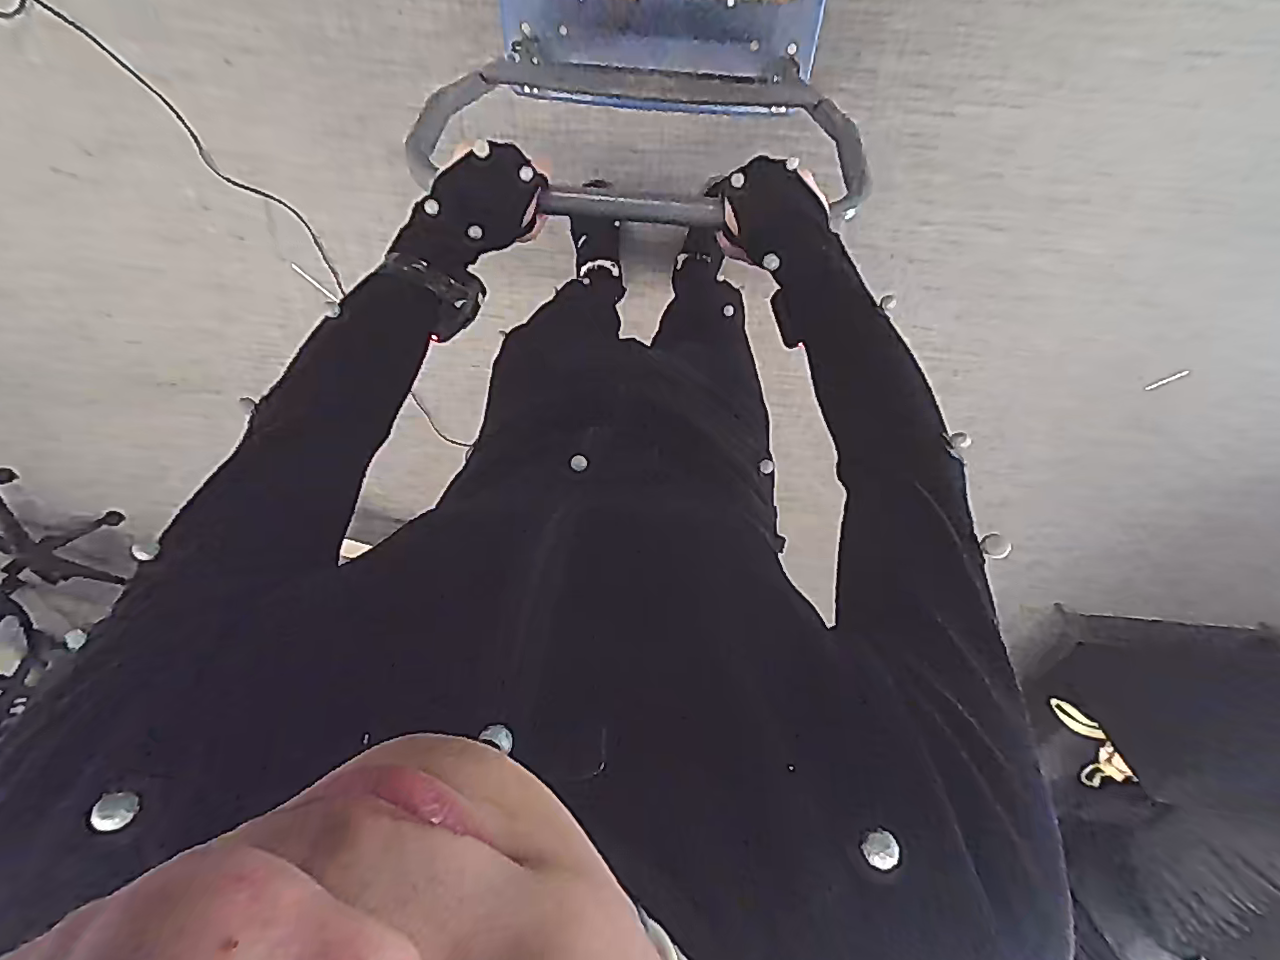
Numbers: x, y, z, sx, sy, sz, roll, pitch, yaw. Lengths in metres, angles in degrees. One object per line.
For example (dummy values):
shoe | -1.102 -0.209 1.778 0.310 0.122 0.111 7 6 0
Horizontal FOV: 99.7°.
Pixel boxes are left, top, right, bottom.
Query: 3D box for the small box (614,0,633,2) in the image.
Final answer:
small box | -0.081 -0.865 0.833 0.168 0.176 0.179 5 131 -1

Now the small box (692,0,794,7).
small box | 0.161 -0.844 0.831 0.179 0.176 0.168 4 130 0
